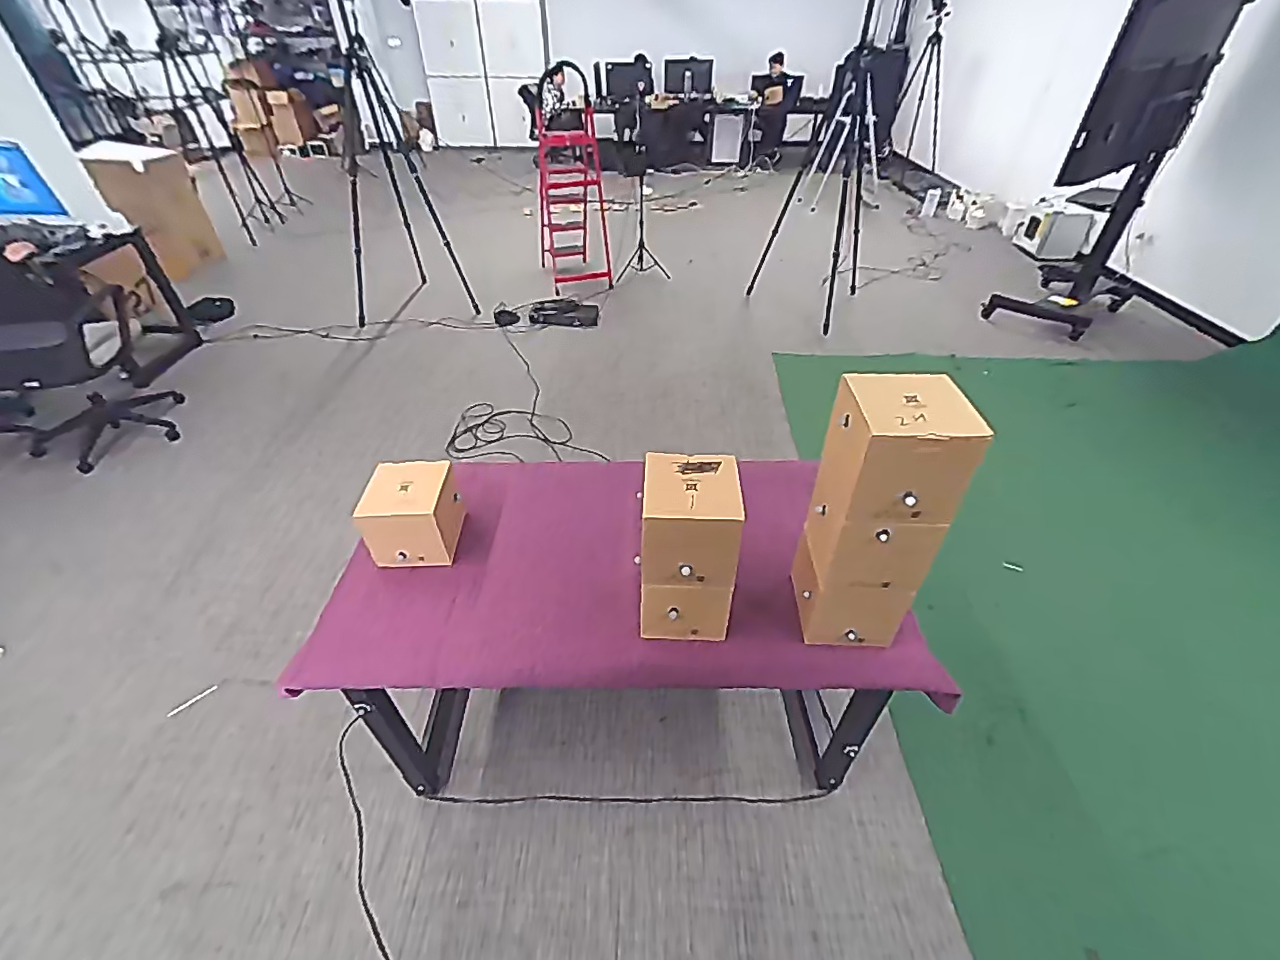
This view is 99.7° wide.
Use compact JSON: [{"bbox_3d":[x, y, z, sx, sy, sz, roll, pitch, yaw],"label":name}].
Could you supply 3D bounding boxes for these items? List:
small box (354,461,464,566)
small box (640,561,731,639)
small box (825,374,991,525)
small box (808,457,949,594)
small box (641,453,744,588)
[{"bbox_3d":[-0.506,0.075,1.219,0.168,0.176,0.179,-2,41,-2],"label":"small box"},{"bbox_3d":[0.087,0.198,1.075,0.168,0.176,0.179,1,39,2],"label":"small box"},{"bbox_3d":[0.403,-0.051,0.853,0.168,0.176,0.179,1,41,3],"label":"small box"},{"bbox_3d":[0.405,0.078,0.956,0.168,0.176,0.179,1,39,4],"label":"small box"},{"bbox_3d":[0.089,0.071,0.972,0.168,0.176,0.179,1,40,3],"label":"small box"}]
